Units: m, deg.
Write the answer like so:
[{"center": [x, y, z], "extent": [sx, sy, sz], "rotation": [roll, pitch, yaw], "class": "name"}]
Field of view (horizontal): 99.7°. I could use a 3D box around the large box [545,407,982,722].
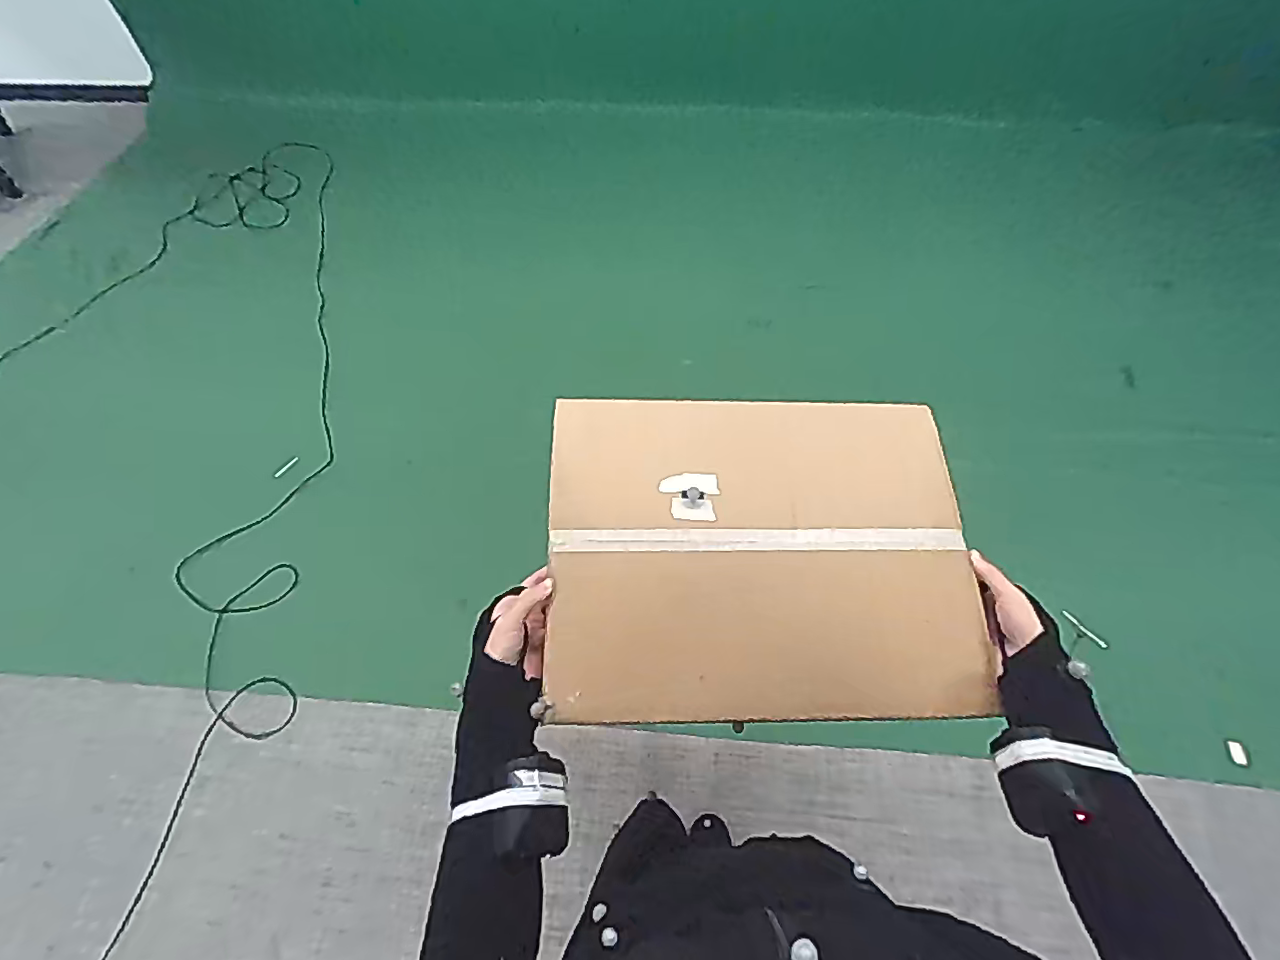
[{"center": [0.107, 0.119, 0.673], "extent": [0.408, 0.320, 0.320], "rotation": [0, 67, -2], "class": "large box"}]
